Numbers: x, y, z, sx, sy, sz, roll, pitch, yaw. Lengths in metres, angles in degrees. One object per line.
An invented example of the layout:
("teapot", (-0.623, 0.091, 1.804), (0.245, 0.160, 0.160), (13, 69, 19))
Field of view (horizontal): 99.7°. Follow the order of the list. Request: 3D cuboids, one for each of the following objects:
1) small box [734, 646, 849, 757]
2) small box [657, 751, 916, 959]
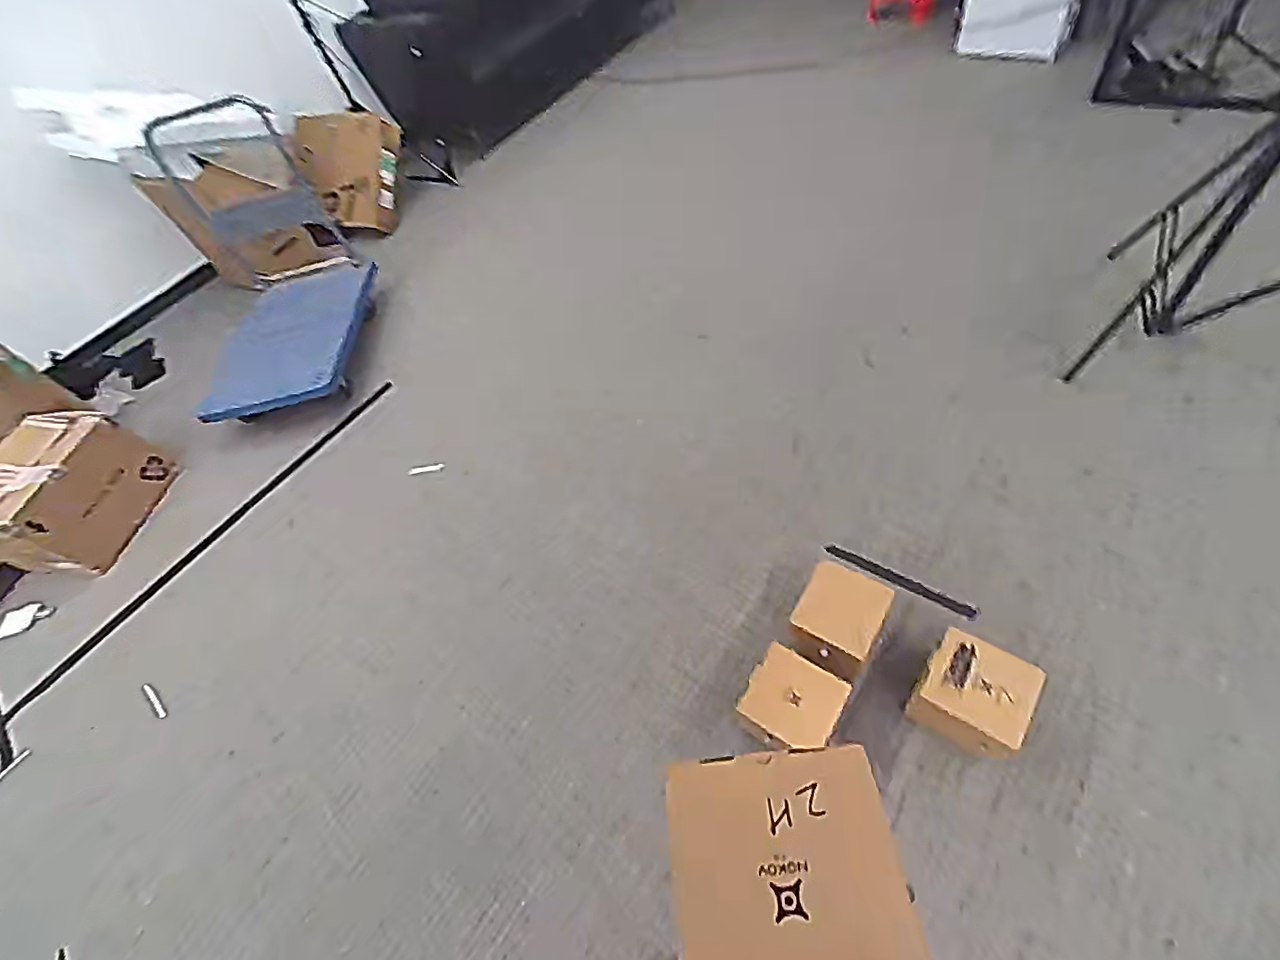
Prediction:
("small box", (0.322, 0.492, 1.158), (0.179, 0.176, 0.168), (26, 65, 29))
("small box", (0.110, 0.346, 0.452), (0.168, 0.176, 0.179), (-8, 51, 2))
